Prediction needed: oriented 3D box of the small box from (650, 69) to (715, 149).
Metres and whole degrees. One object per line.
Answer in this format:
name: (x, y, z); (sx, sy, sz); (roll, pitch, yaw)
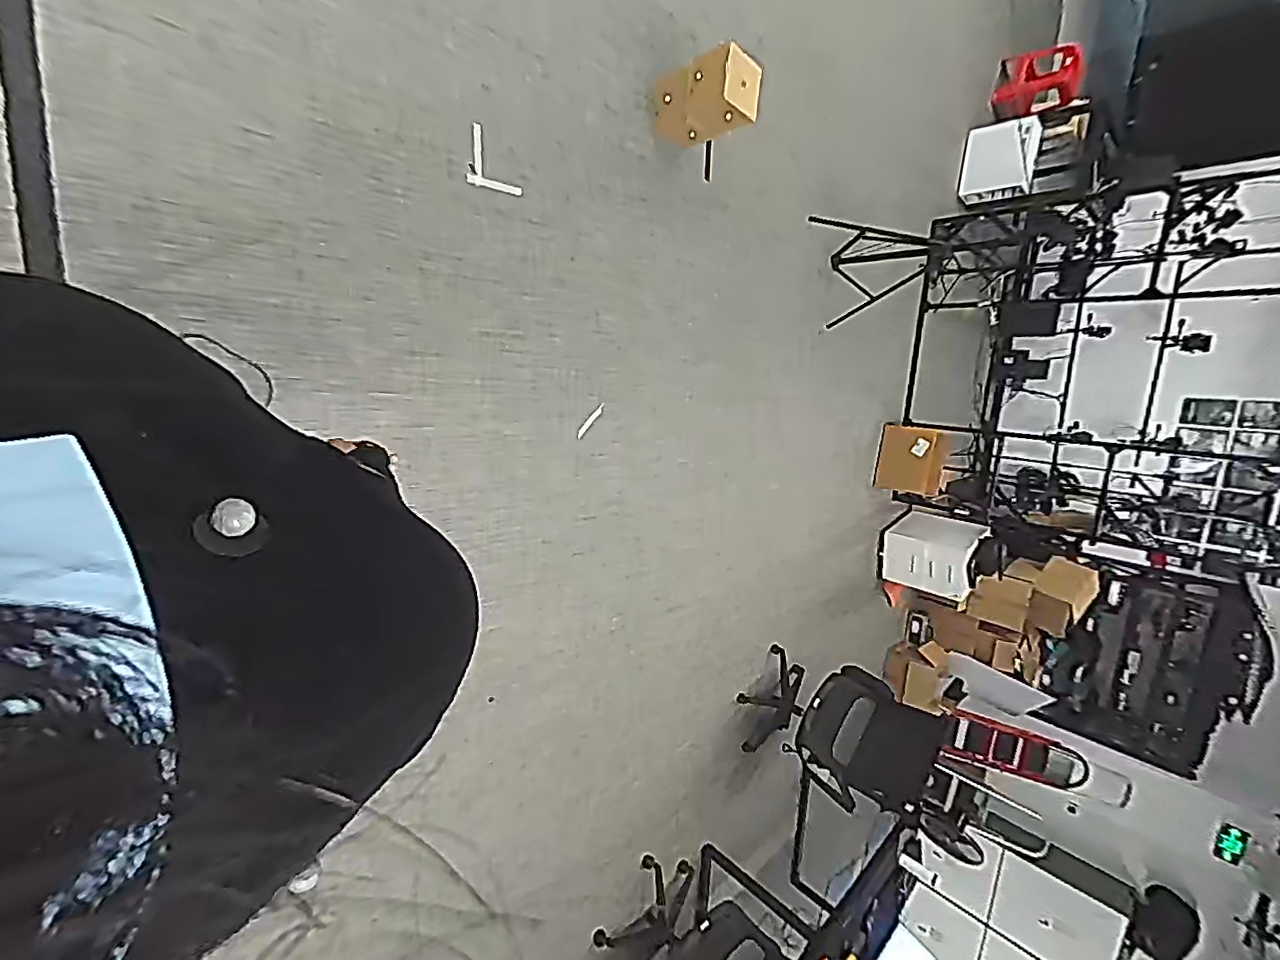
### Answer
small box: (0.152, -1.298, 1.909); (0.179, 0.176, 0.168); (-10, 107, -44)

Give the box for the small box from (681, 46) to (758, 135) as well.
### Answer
small box: (0.263, -1.276, 1.791); (0.179, 0.176, 0.168); (-1, 100, -44)
